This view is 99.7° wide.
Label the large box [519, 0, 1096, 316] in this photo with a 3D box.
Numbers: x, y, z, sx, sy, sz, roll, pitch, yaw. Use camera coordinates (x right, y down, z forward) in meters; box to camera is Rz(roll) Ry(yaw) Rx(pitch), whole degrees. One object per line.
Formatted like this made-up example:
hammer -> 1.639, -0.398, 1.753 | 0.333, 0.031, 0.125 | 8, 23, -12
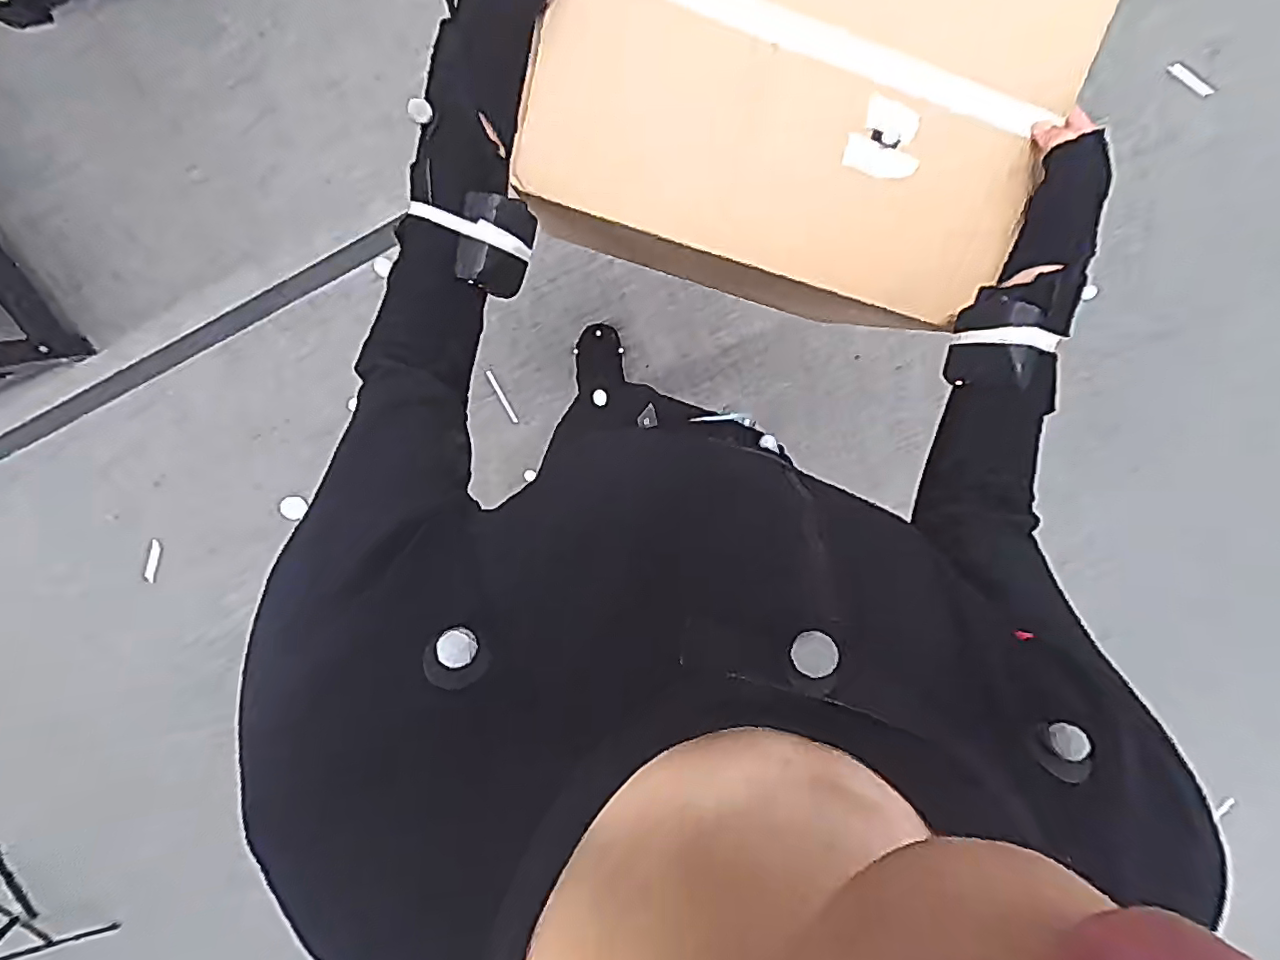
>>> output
large box -> 0.117, -0.372, 0.544 | 0.408, 0.320, 0.320 | 13, 107, -10
